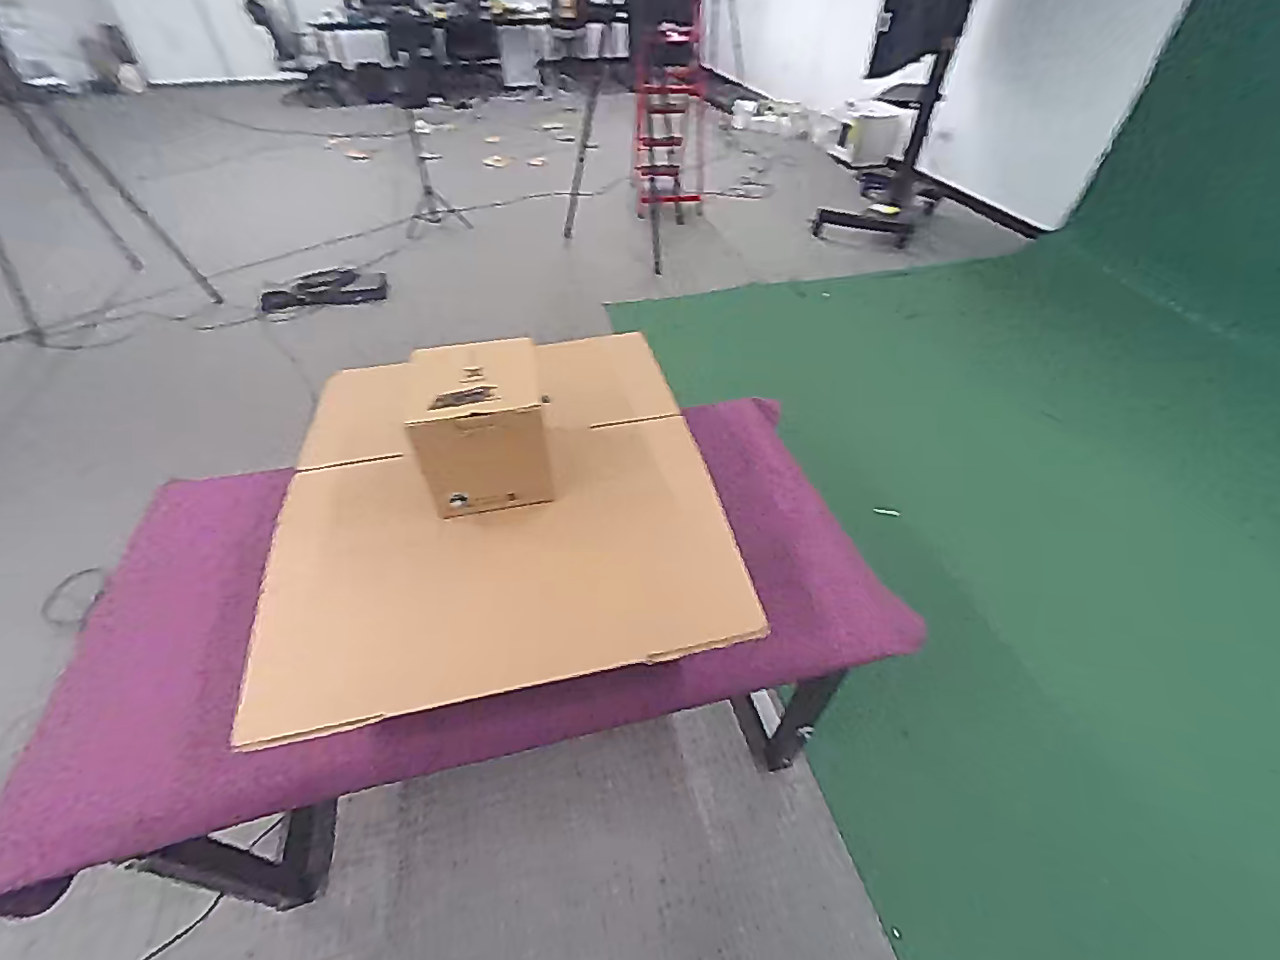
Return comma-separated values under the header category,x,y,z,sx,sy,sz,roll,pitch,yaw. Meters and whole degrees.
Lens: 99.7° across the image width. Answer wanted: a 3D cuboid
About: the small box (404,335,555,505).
category,x,y,z,sx,sy,sz,roll,pitch,yaw
small box,-0.218,-0.080,0.767,0.168,0.176,0.179,-9,45,-9
